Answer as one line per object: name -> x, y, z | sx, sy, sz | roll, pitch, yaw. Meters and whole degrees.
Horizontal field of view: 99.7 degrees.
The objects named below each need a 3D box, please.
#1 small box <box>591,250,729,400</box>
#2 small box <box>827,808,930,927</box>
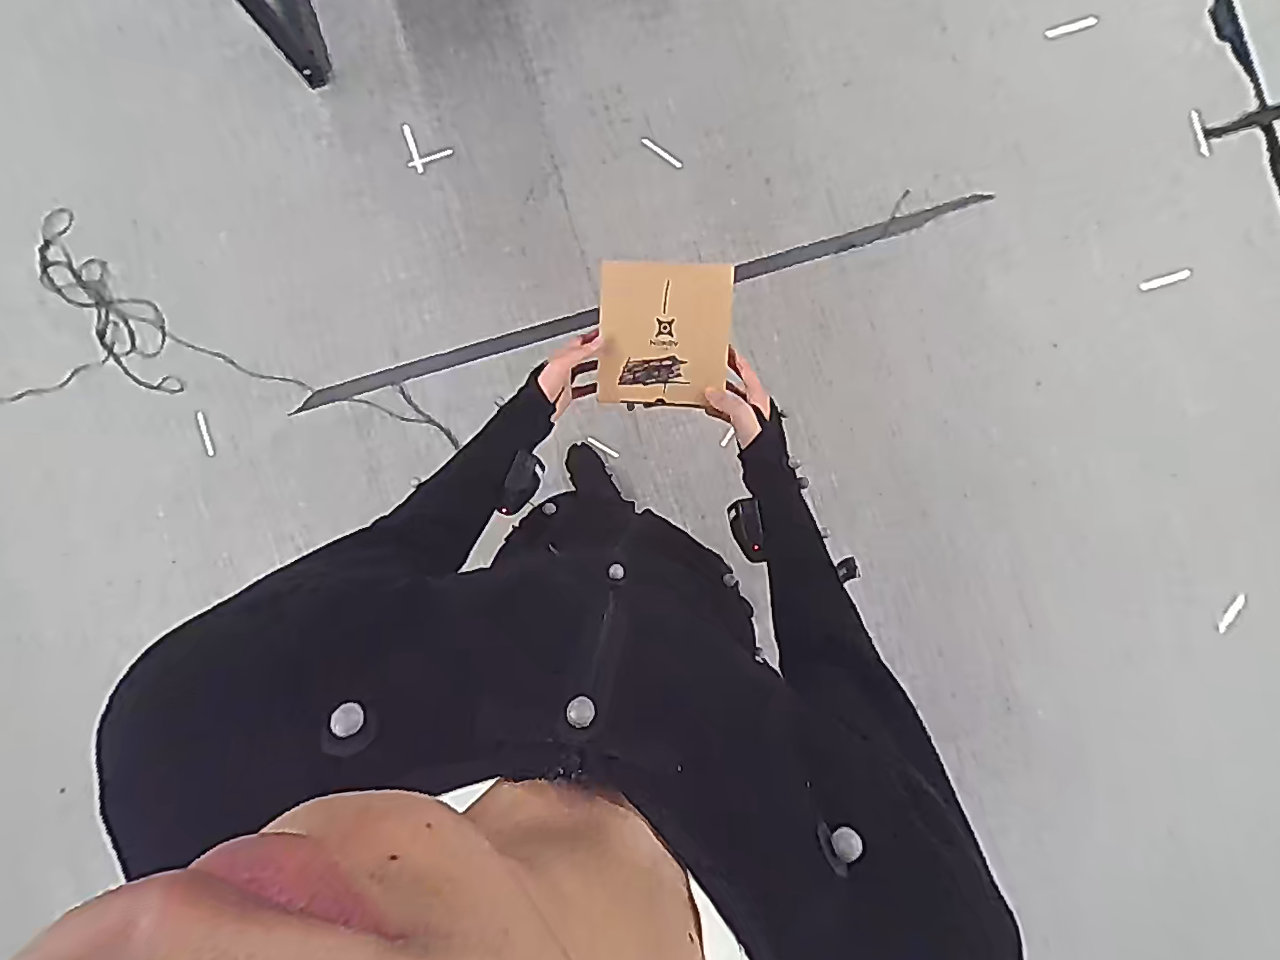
small box -> 0.029, -0.202, 0.744 | 0.168, 0.176, 0.179 | 3, 98, 4
small box -> 0.524, 0.846, 1.140 | 0.168, 0.176, 0.179 | -25, 90, 0
